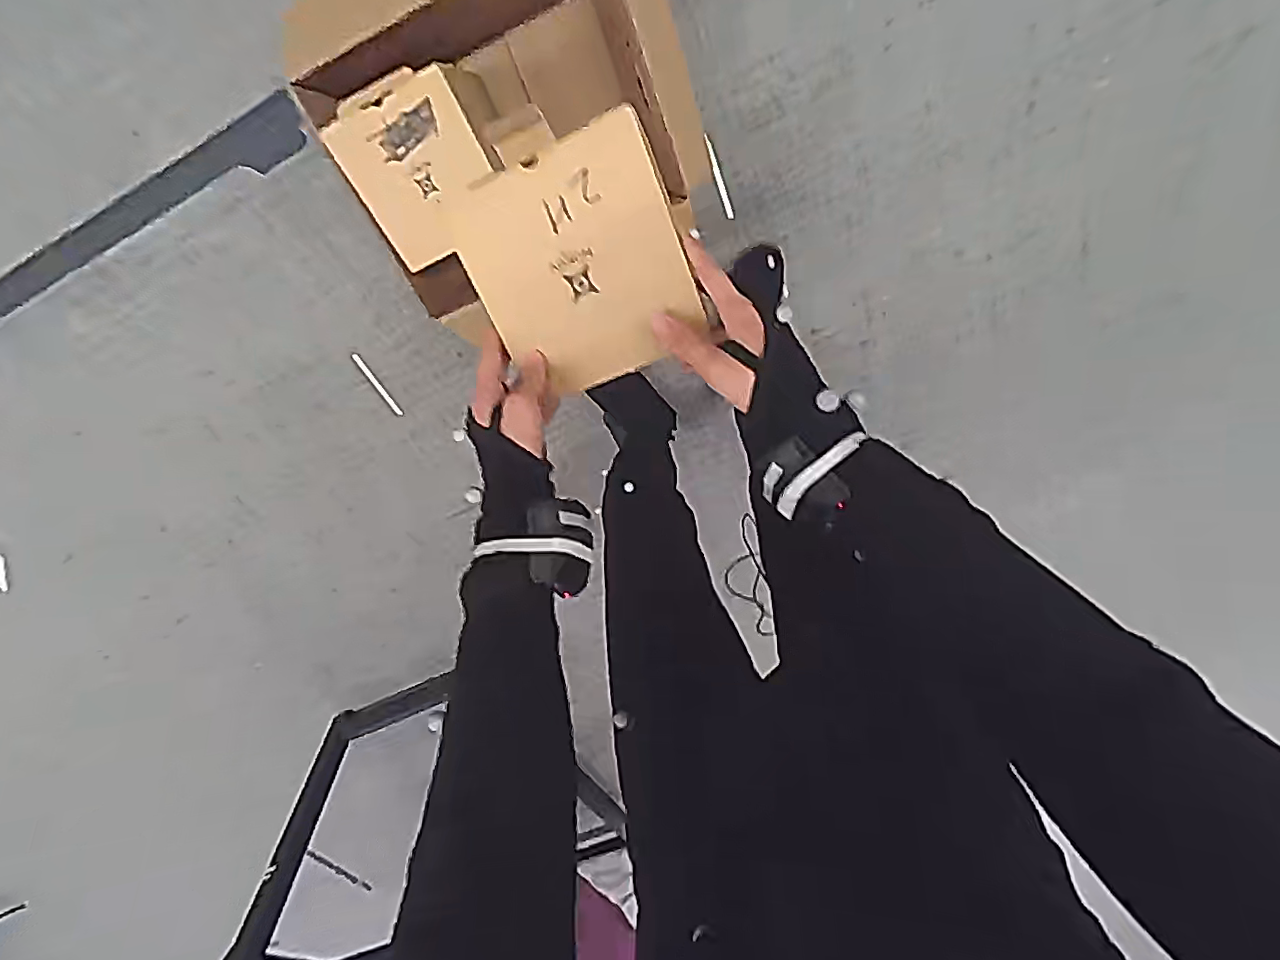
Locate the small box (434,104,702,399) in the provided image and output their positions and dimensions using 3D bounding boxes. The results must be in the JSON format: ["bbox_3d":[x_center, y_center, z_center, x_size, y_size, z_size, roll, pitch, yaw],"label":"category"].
[{"bbox_3d":[-0.046,-0.201,0.499,0.168,0.176,0.179,-19,111,12],"label":"small box"}]
